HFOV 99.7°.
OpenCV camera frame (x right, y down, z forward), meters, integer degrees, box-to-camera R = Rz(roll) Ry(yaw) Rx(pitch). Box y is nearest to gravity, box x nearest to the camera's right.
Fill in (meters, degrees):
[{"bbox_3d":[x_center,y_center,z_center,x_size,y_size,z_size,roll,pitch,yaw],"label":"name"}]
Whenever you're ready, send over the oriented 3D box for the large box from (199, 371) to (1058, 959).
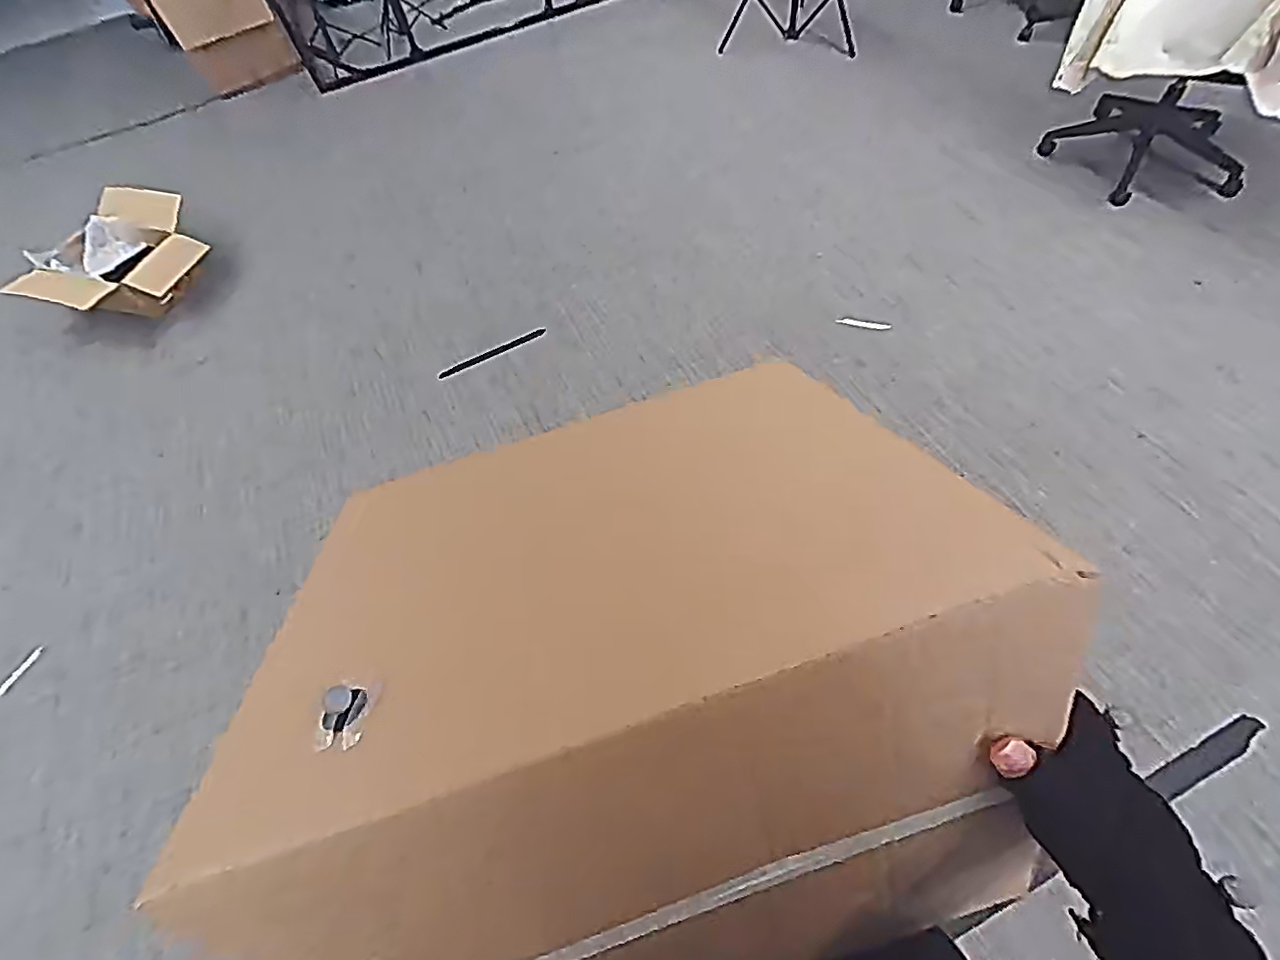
[{"bbox_3d":[0.009,0.152,0.434,0.408,0.320,0.320,-19,31,-2],"label":"large box"}]
